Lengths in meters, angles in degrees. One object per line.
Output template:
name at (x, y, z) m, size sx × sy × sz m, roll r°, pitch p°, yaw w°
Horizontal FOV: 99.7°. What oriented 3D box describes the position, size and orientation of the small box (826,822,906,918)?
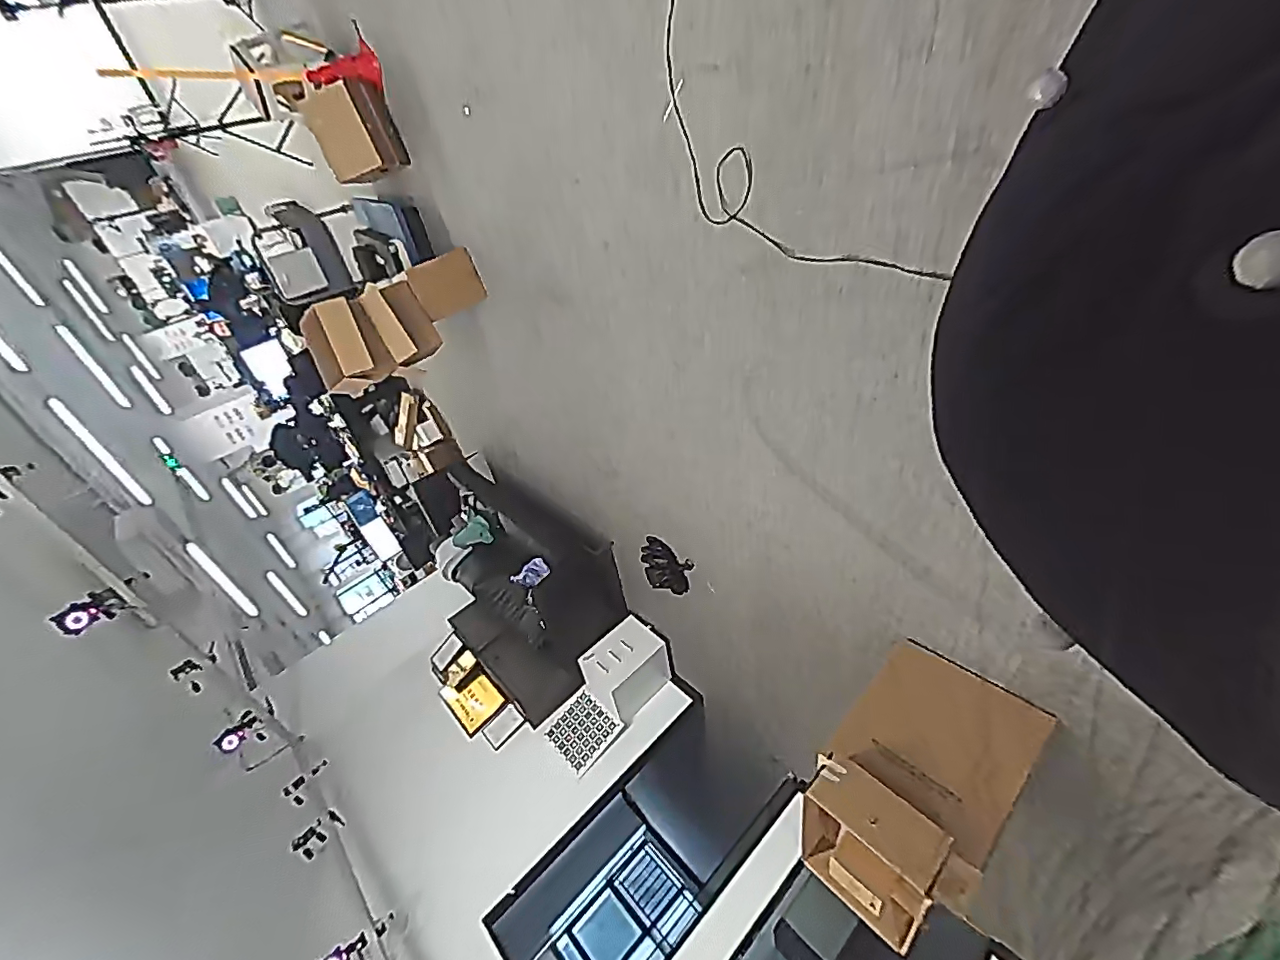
small box at (0.726, 1.249, 1.748) m, size 0.179 × 0.176 × 0.168 m, roll 28°, pitch 144°, yaw 43°
